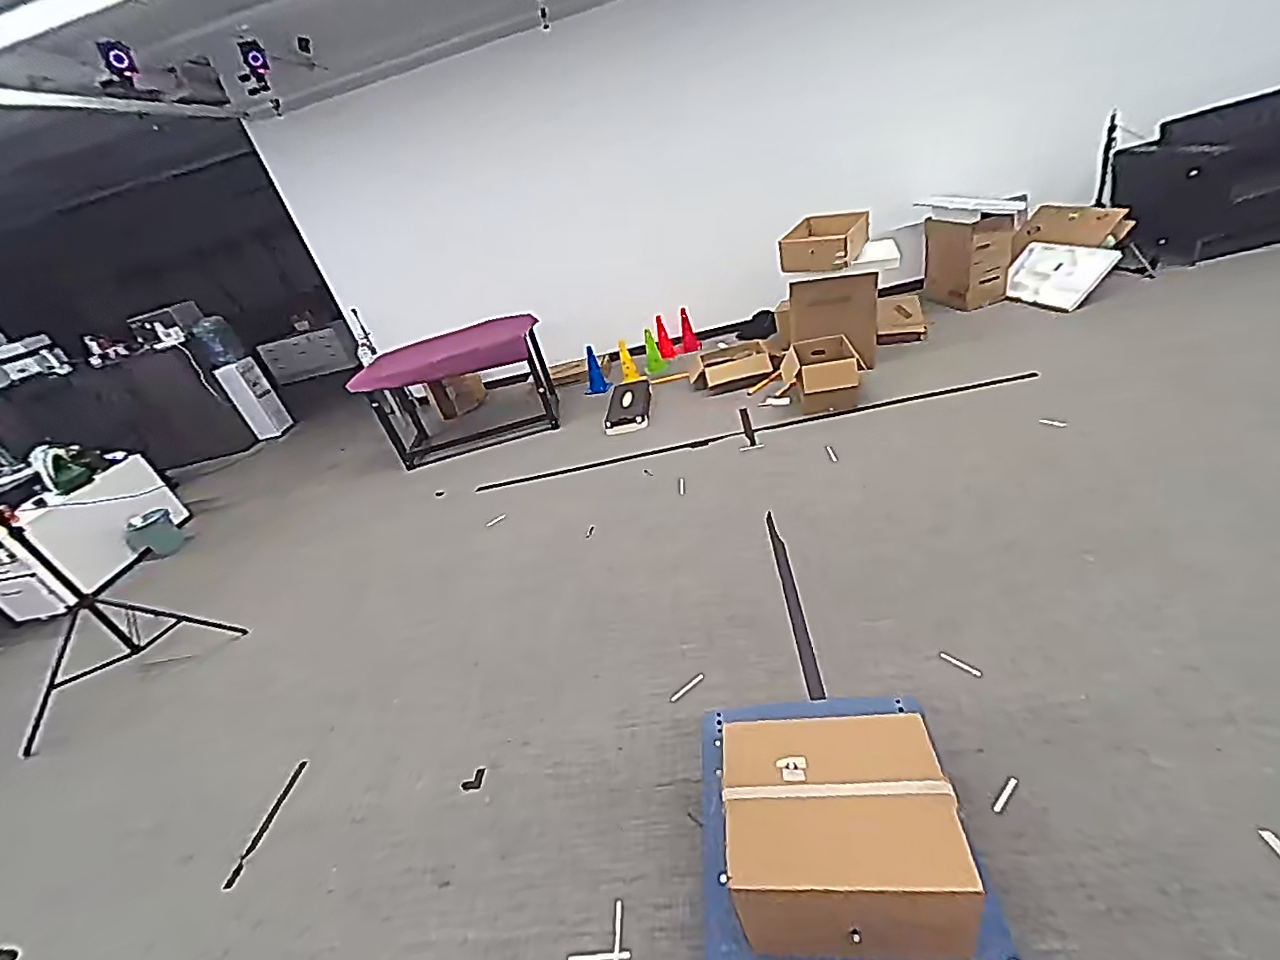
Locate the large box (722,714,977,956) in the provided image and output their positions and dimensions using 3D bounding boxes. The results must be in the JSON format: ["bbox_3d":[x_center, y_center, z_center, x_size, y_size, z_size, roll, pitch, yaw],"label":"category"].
[{"bbox_3d":[0.400,0.720,1.099,0.408,0.320,0.320,-10,30,13],"label":"large box"}]
